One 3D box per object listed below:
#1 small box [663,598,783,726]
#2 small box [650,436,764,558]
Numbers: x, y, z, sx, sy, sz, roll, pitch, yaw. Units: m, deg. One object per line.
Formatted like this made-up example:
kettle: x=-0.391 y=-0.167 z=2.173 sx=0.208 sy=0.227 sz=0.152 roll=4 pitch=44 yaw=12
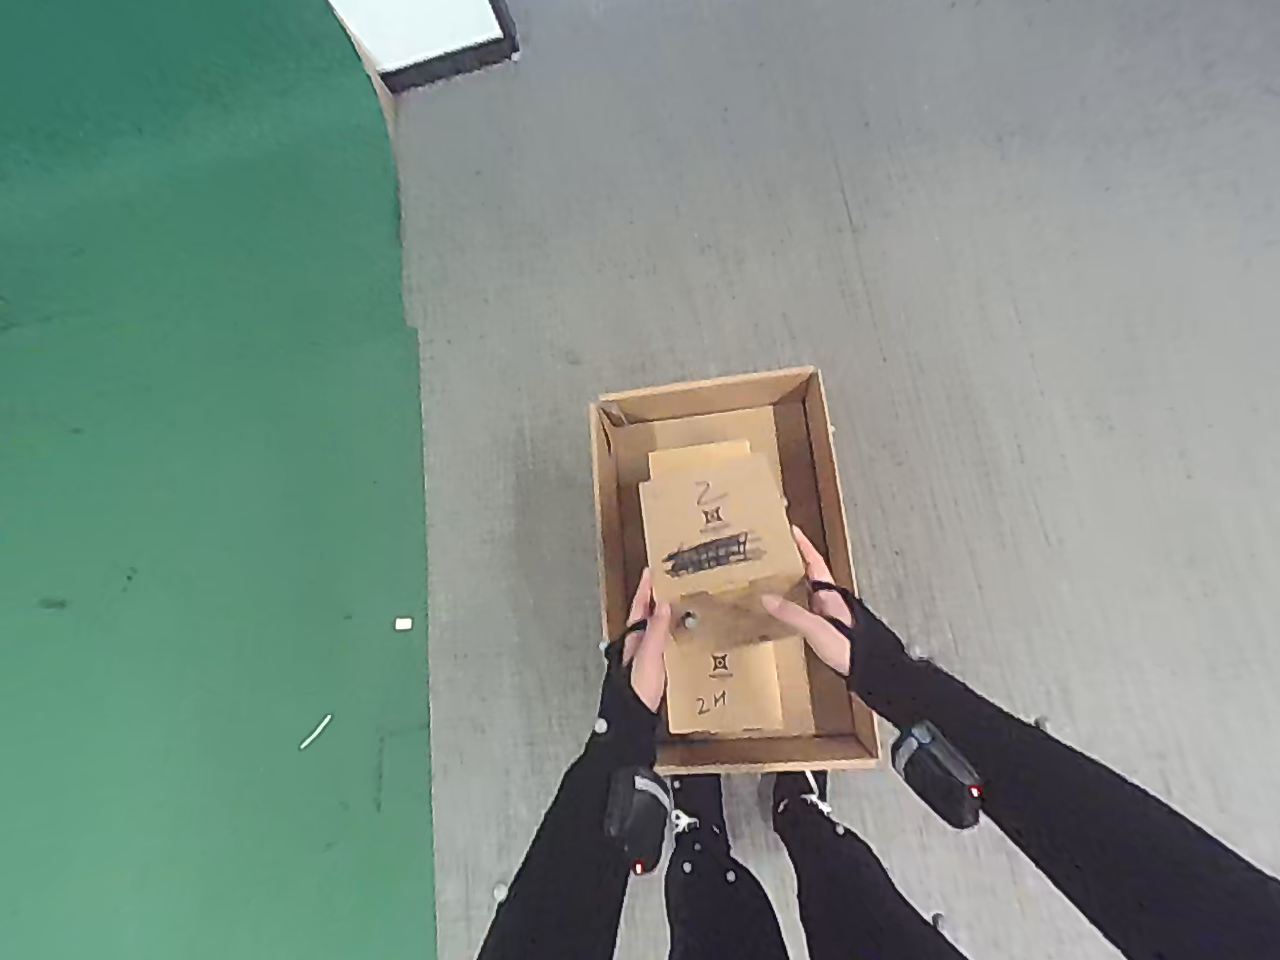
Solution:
small box: x=0.132 y=0.285 z=0.874 sx=0.168 sy=0.176 sz=0.179 roll=-6 pitch=77 yaw=10
small box: x=0.115 y=0.037 z=0.933 sx=0.168 sy=0.176 sz=0.179 roll=-8 pitch=79 yaw=9
